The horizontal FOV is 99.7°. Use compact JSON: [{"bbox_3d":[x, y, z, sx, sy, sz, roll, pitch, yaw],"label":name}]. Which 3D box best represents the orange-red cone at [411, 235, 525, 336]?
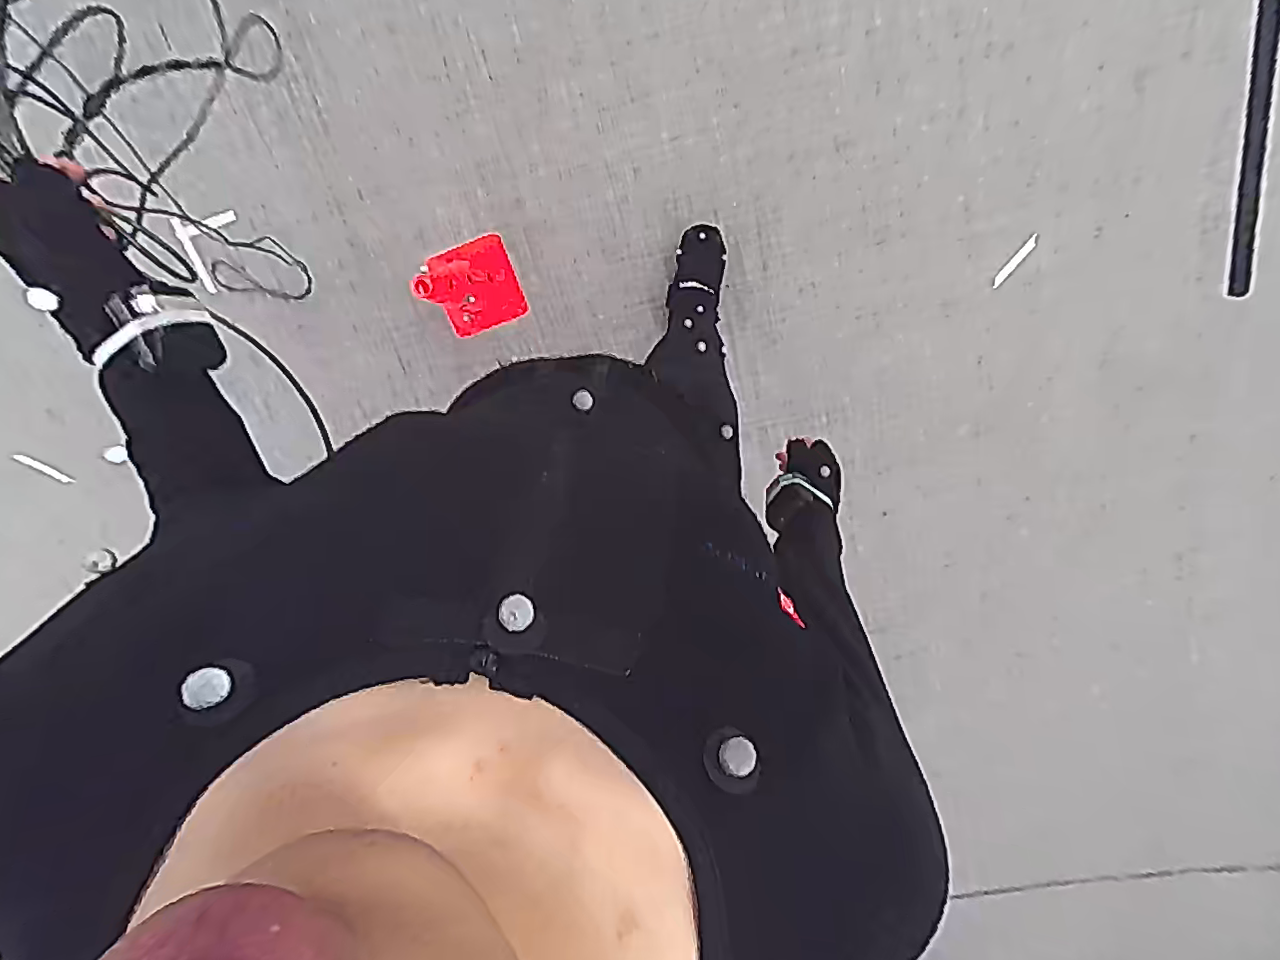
[{"bbox_3d":[-0.398,-0.410,1.148,0.199,0.360,0.198,-18,109,6],"label":"orange-red cone"}]
